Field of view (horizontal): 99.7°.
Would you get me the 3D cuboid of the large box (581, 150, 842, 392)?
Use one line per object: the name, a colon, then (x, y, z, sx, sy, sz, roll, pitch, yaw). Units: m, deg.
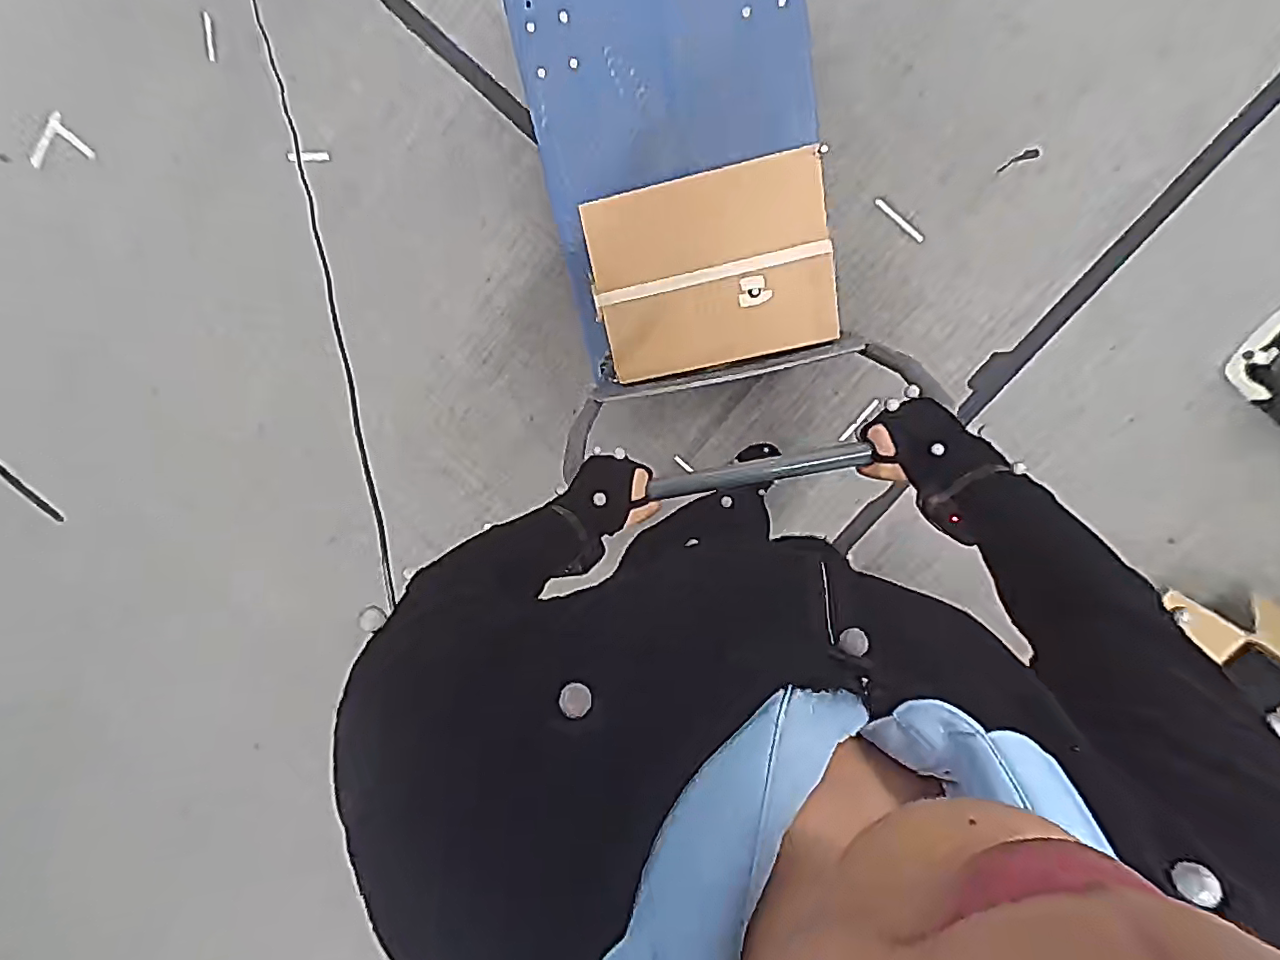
large box: (0.134, -0.386, 1.066, 0.408, 0.320, 0.320, -11, 107, 7)
